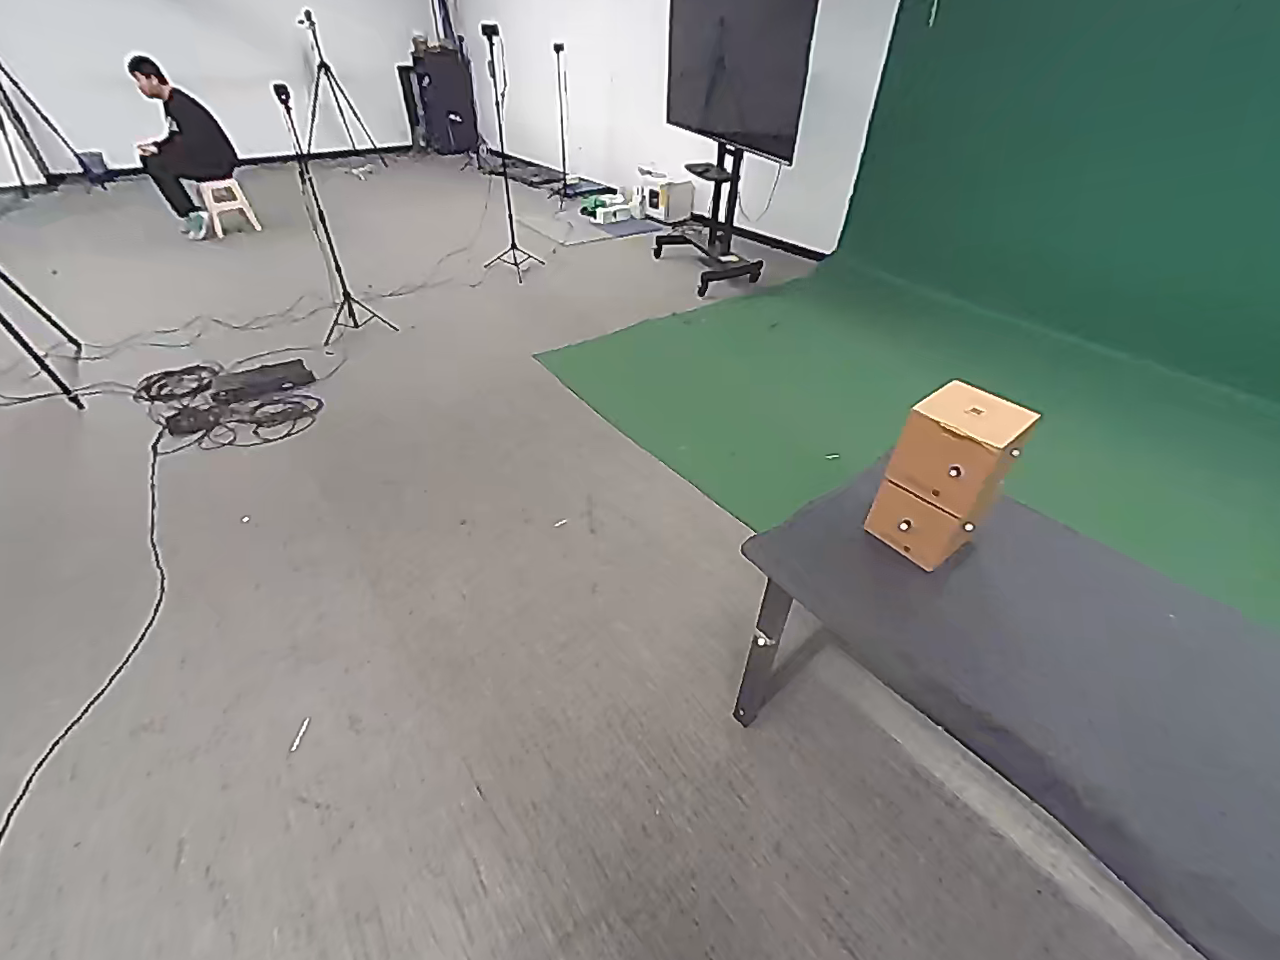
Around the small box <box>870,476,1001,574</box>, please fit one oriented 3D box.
[{"bbox_3d":[0.626,0.071,1.168,0.179,0.176,0.168,-25,47,-29],"label":"small box"}]

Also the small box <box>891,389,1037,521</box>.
[{"bbox_3d":[0.620,-0.049,1.057,0.179,0.176,0.168,-27,48,-31],"label":"small box"}]
